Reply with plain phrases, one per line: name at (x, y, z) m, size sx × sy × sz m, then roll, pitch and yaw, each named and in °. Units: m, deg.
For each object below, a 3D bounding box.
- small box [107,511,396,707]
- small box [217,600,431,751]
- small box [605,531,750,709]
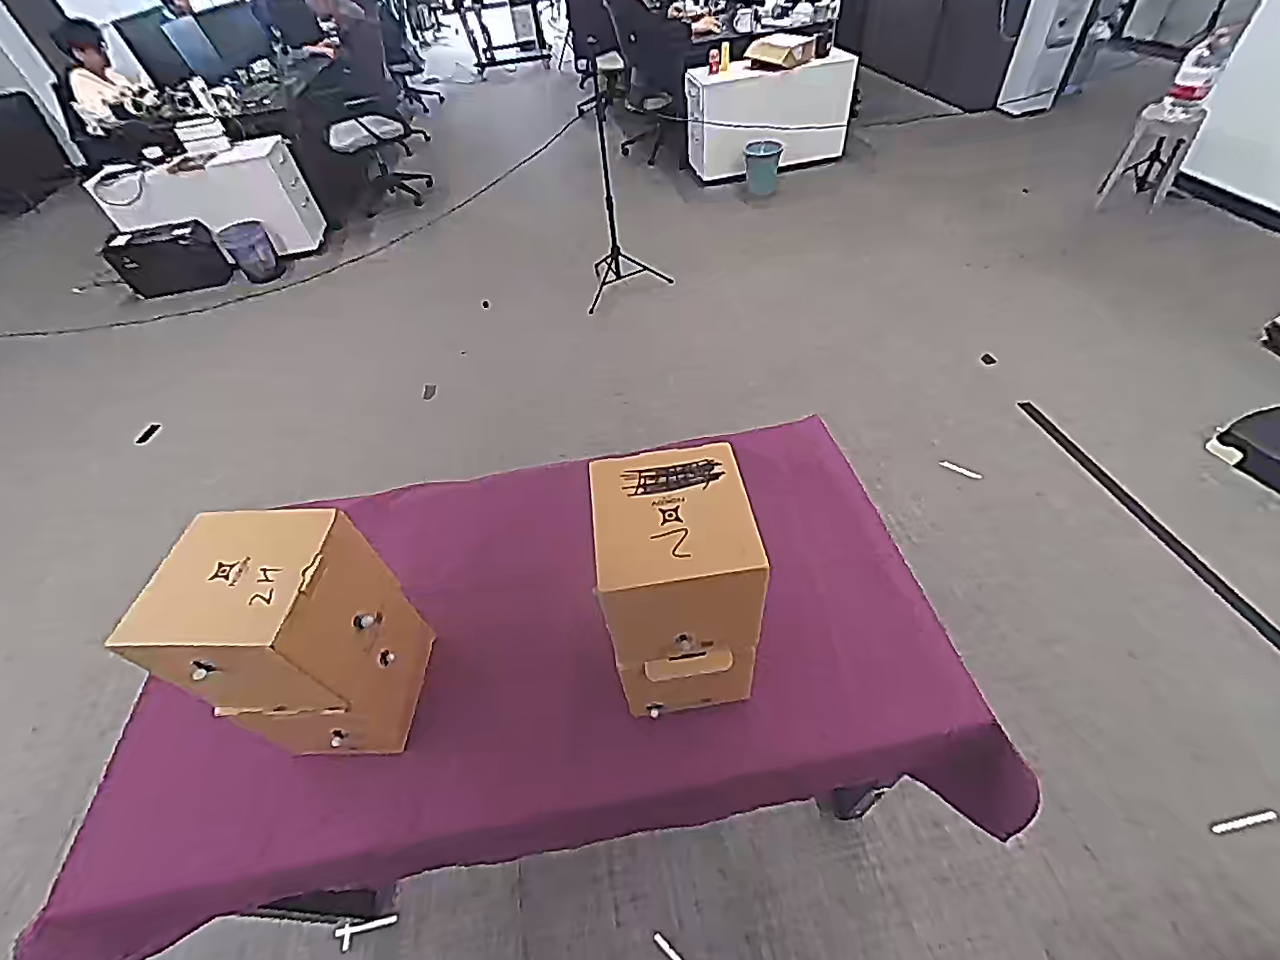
small box at (-0.420, 0.152, 0.624) m, size 0.179 × 0.176 × 0.168 m, roll -1°, pitch 49°, yaw 4°
small box at (-0.411, 0.262, 0.745) m, size 0.168 × 0.176 × 0.179 m, roll -2°, pitch 48°, yaw 4°
small box at (0.049, 0.198, 0.744) m, size 0.168 × 0.176 × 0.179 m, roll -9°, pitch 47°, yaw -1°
